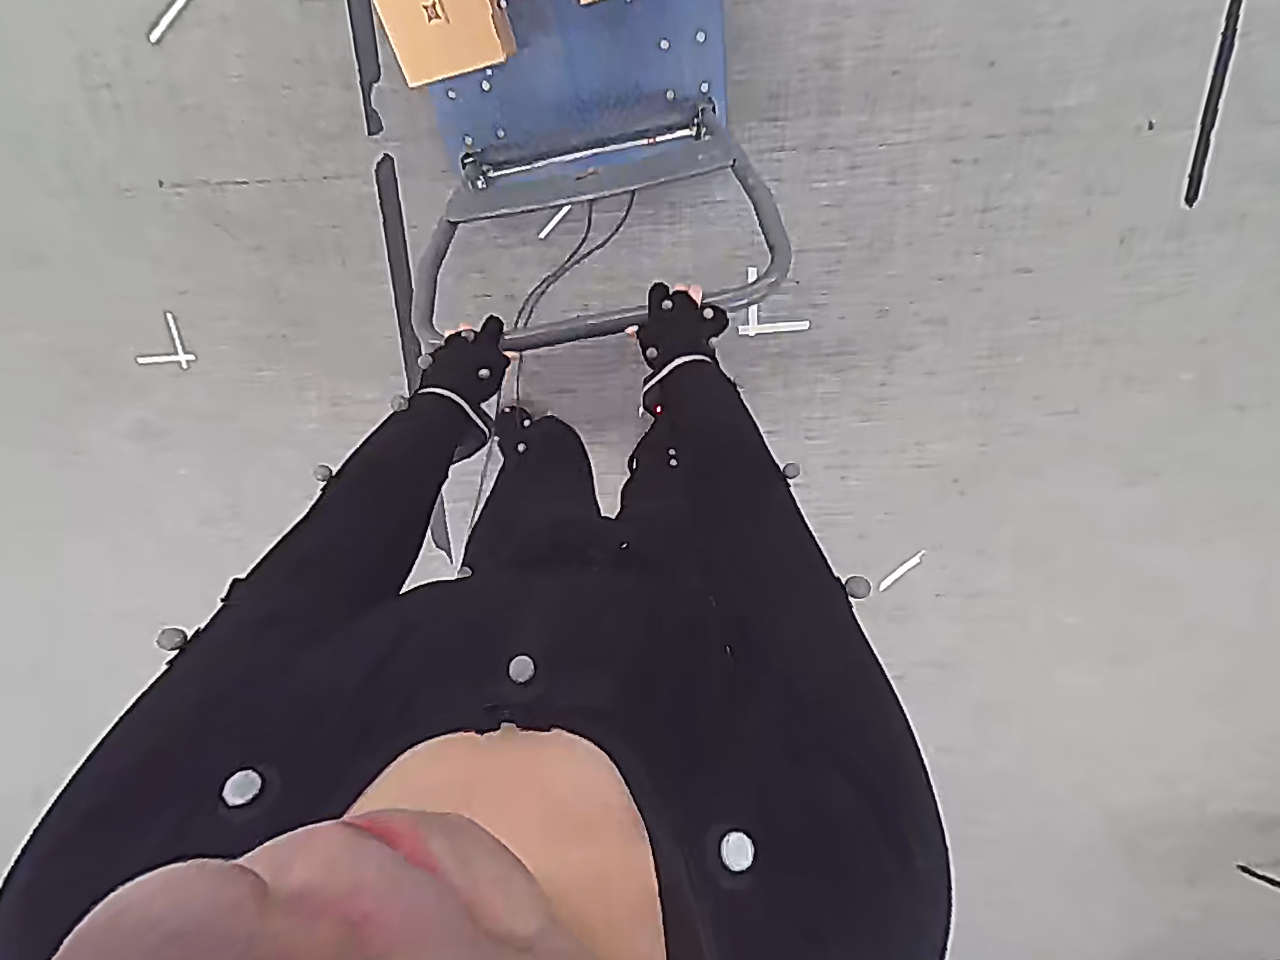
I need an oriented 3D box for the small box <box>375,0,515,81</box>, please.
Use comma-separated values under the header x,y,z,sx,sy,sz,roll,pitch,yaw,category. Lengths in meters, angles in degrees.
x,y,z,sx,sy,sz,roll,pitch,yaw,category
-0.326,-0.797,0.908,0.179,0.176,0.168,-13,132,6,small box
